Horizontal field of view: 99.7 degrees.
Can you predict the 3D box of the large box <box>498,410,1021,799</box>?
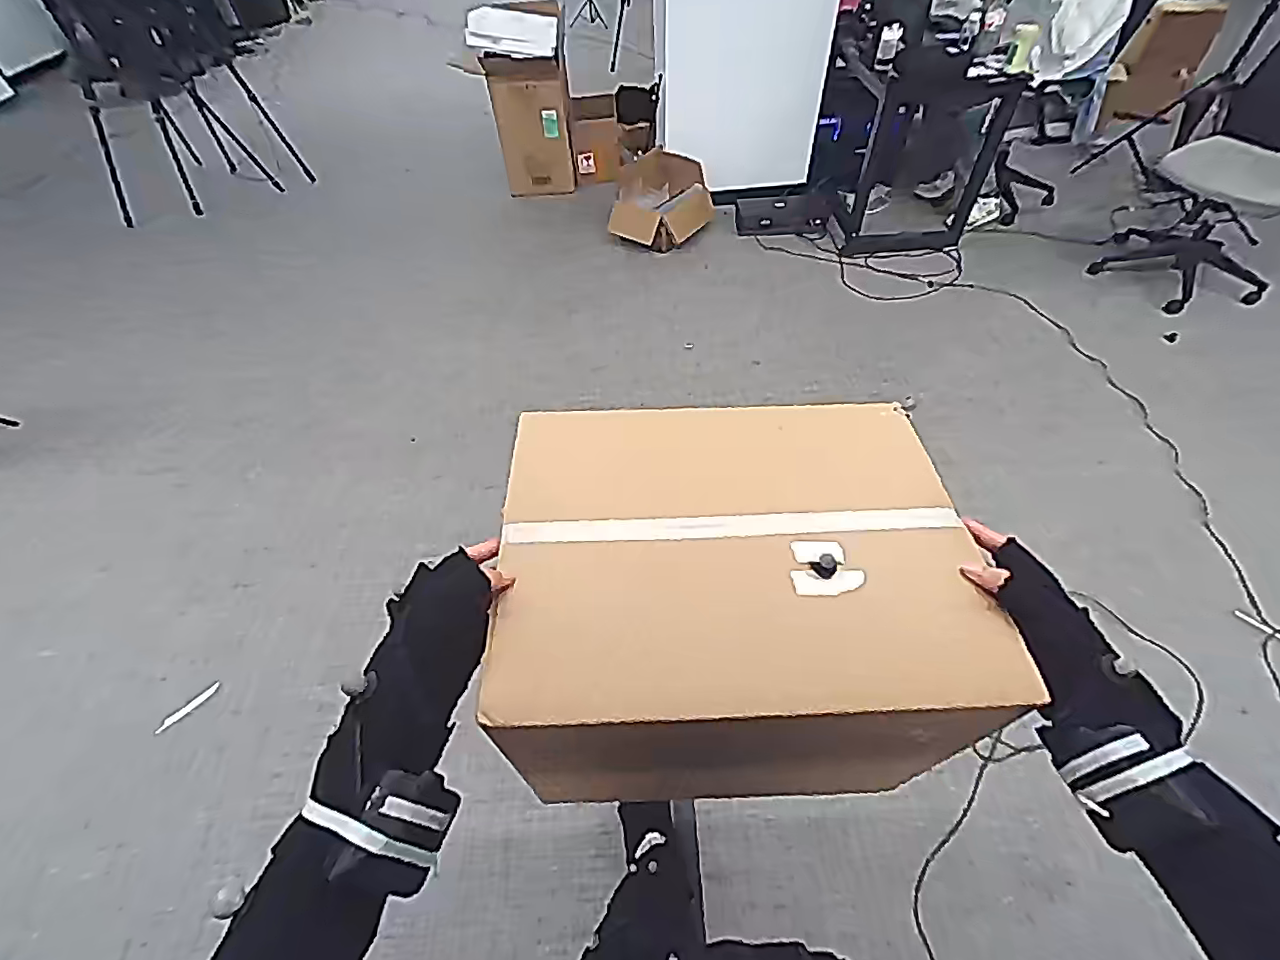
[{"bbox_3d":[0.082,0.143,0.607,0.408,0.320,0.320,-2,51,-2],"label":"large box"}]
